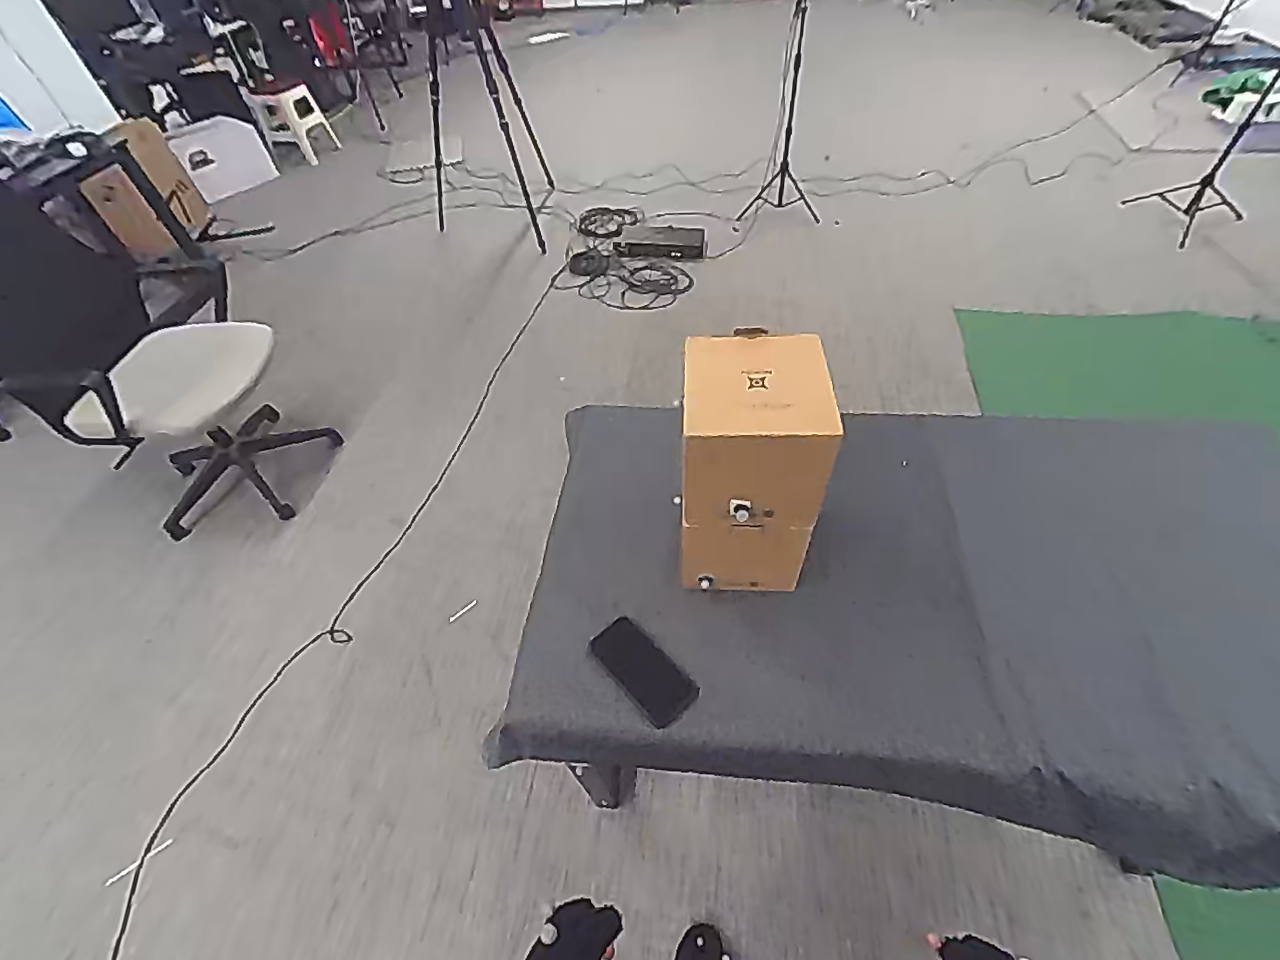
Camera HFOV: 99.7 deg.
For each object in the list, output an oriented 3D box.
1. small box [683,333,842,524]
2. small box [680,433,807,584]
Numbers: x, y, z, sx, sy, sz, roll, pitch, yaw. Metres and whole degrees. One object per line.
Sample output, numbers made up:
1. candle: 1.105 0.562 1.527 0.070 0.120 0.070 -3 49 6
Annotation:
1. small box: 0.138 -0.063 0.679 0.168 0.176 0.179 0 52 5
2. small box: 0.145 0.040 0.804 0.168 0.176 0.179 1 50 5
